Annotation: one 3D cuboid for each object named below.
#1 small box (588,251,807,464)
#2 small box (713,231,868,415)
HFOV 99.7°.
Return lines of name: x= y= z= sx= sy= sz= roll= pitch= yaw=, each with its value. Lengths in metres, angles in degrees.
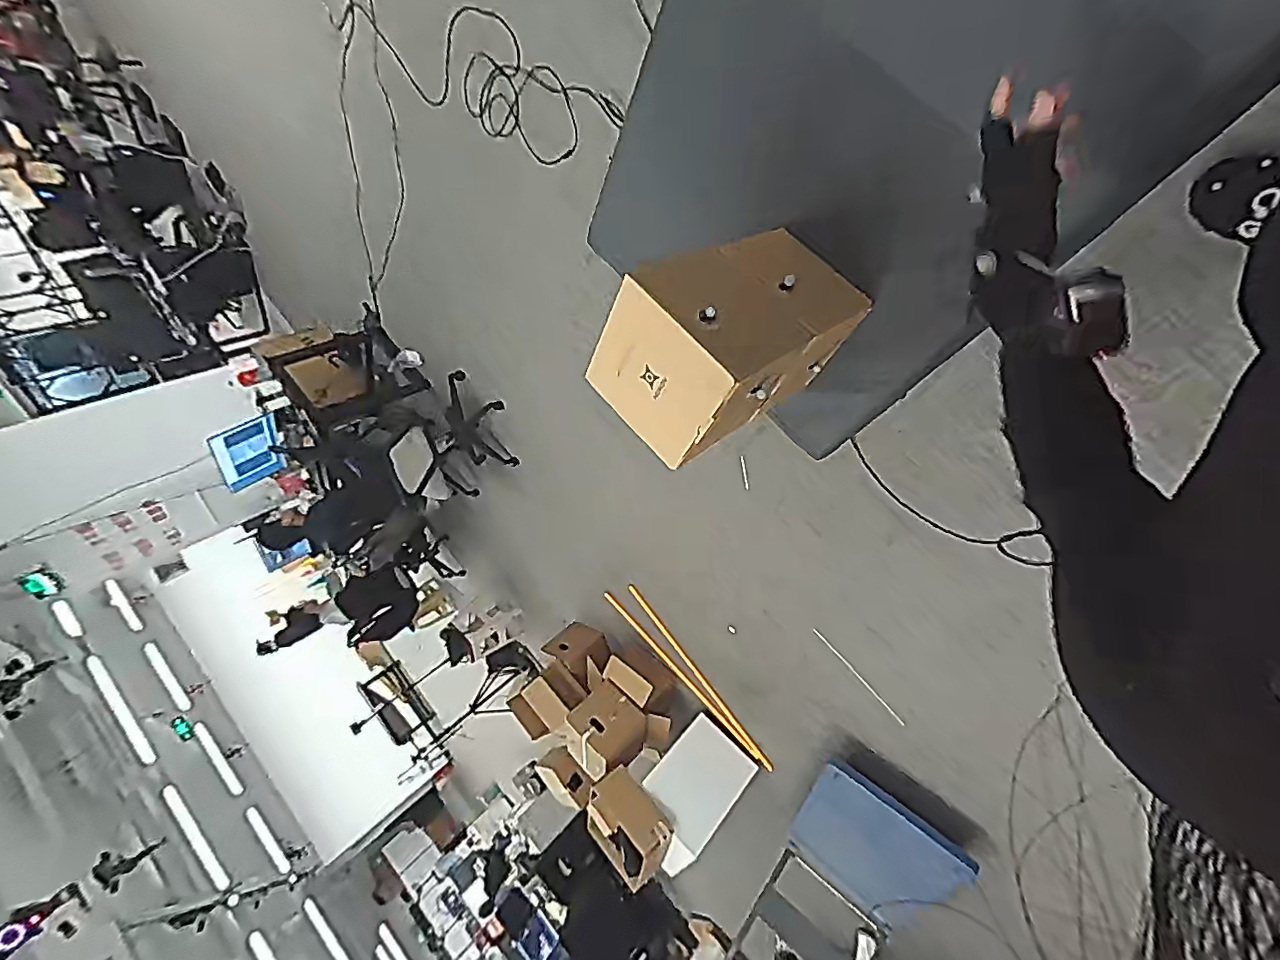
small box: x=0.071 y=-0.158 z=0.672 sx=0.179 sy=0.176 sz=0.168 roll=48 pitch=141 yaw=11
small box: x=0.180 y=-0.229 z=0.769 sx=0.179 sy=0.176 sz=0.168 roll=47 pitch=142 yaw=12
